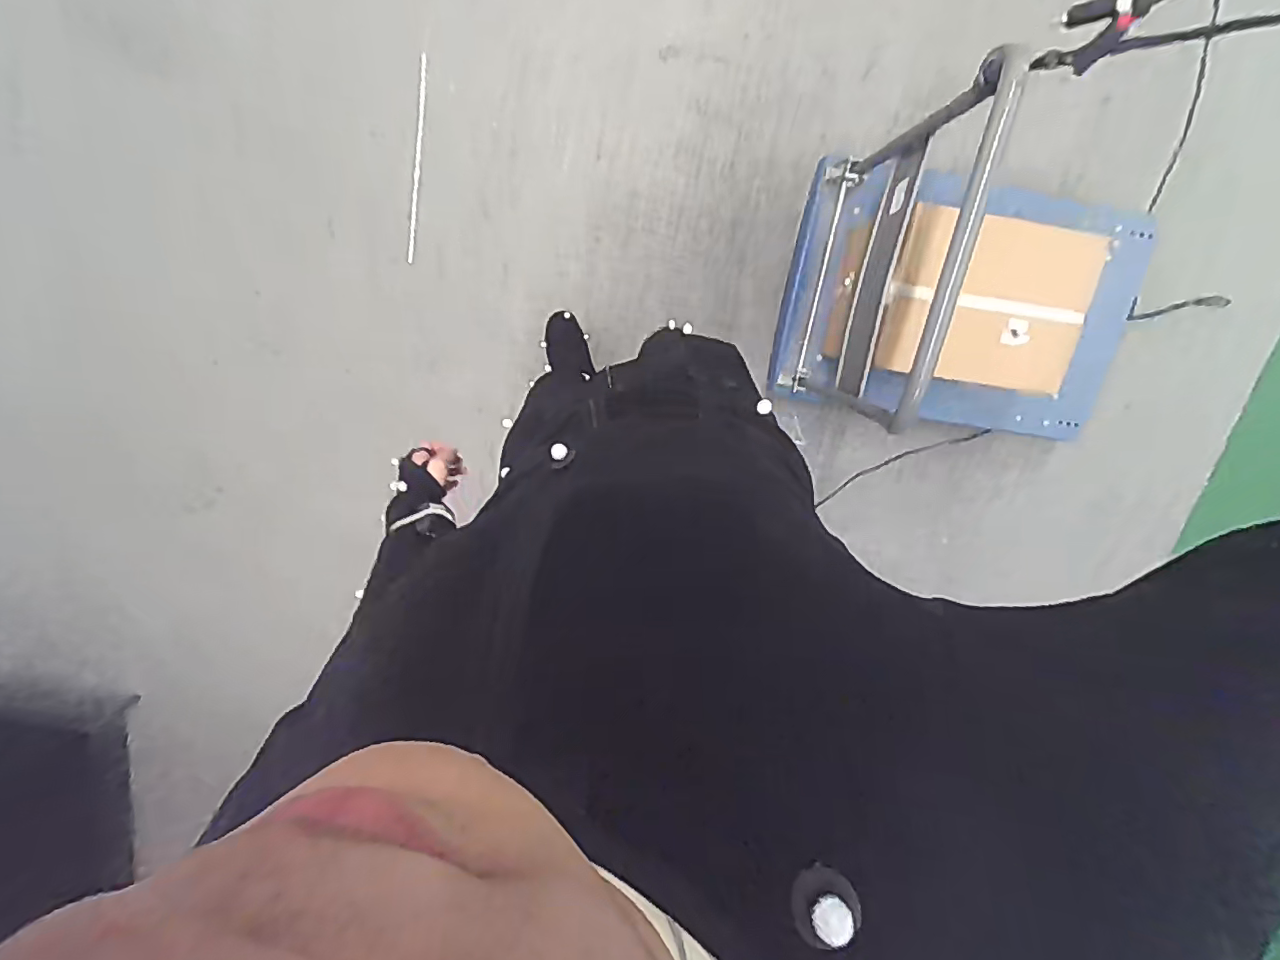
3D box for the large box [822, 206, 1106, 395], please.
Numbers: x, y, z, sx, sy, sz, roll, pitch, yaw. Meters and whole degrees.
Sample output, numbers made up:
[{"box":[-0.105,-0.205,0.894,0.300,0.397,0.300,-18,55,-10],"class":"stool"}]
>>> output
[{"box":[0.681,-0.388,1.214,0.408,0.320,0.320,8,107,-6],"class":"large box"}]
